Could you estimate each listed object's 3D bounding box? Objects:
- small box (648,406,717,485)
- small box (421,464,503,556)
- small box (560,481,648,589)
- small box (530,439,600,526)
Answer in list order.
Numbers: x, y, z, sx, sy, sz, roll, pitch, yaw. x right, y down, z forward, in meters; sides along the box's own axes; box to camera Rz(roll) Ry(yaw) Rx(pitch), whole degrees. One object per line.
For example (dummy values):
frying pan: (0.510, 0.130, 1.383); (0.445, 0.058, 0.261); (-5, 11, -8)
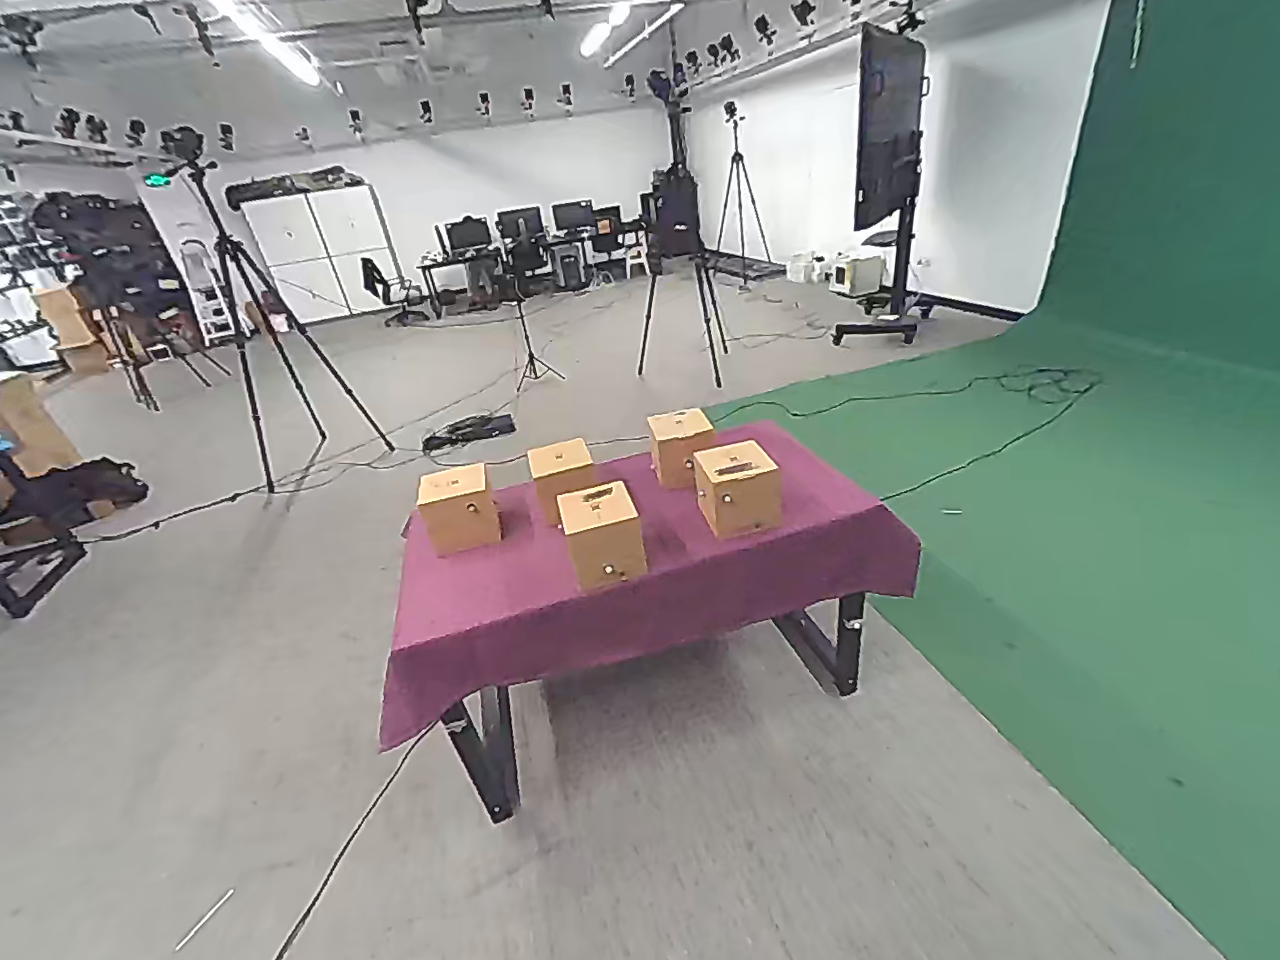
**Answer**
small box: (0.127, -0.096, 1.608); (0.168, 0.176, 0.179); (-11, 31, -4)
small box: (-0.480, 0.083, 1.482); (0.179, 0.176, 0.168); (-15, 30, -9)
small box: (-0.087, 0.129, 1.284); (0.168, 0.176, 0.179); (-15, 30, -8)
small box: (-0.208, 0.006, 1.537); (0.168, 0.176, 0.179); (-15, 31, -8)
